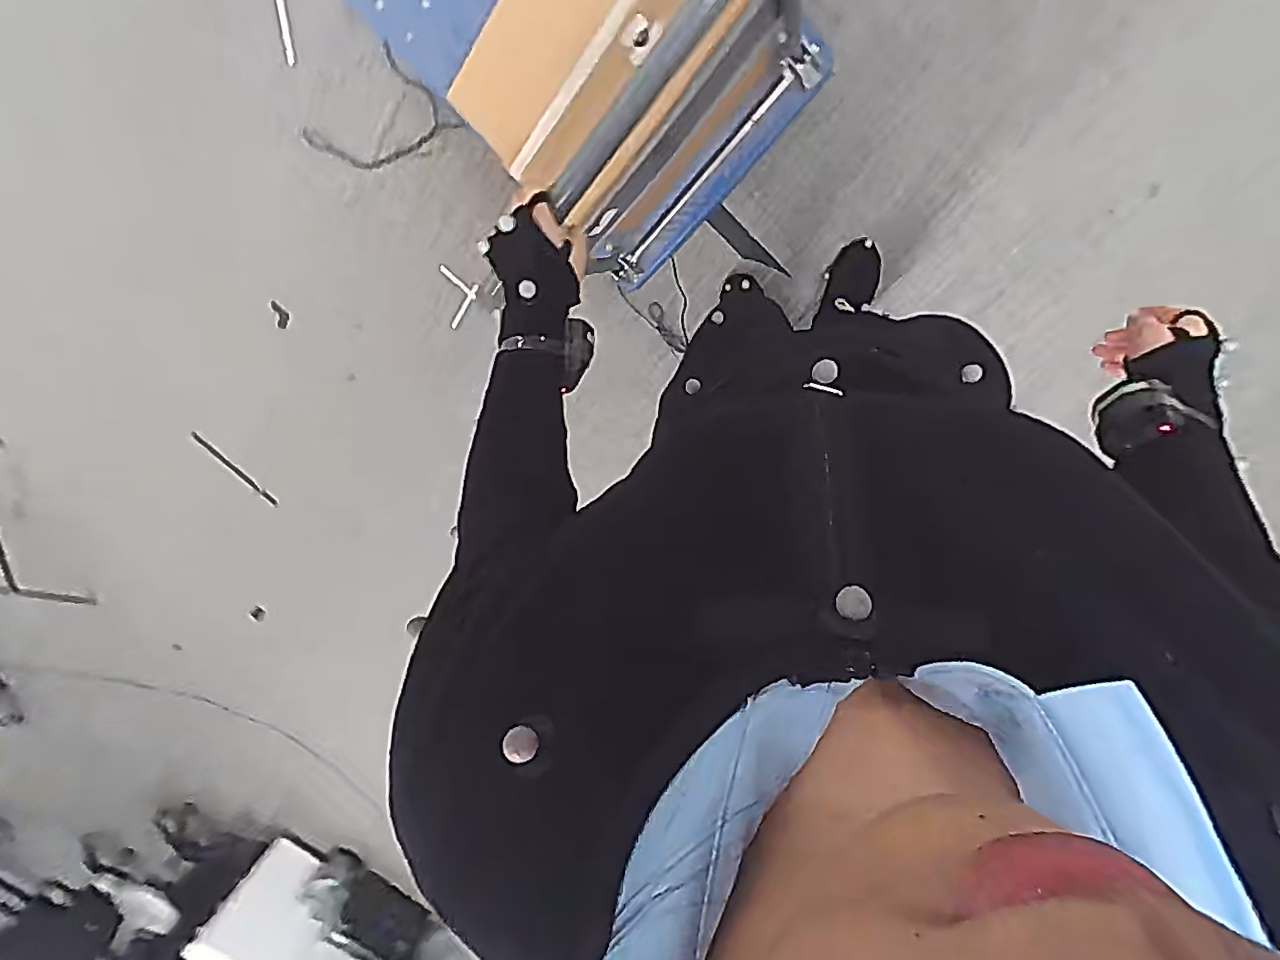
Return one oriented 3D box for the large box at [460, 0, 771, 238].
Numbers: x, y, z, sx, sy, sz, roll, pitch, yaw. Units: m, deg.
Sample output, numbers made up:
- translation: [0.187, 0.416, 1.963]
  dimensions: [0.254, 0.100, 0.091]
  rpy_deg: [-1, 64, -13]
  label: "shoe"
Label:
- translation: [-0.027, -0.693, 0.944]
  dimensions: [0.320, 0.320, 0.408]
  rpy_deg: [45, 118, -9]
  label: "large box"
